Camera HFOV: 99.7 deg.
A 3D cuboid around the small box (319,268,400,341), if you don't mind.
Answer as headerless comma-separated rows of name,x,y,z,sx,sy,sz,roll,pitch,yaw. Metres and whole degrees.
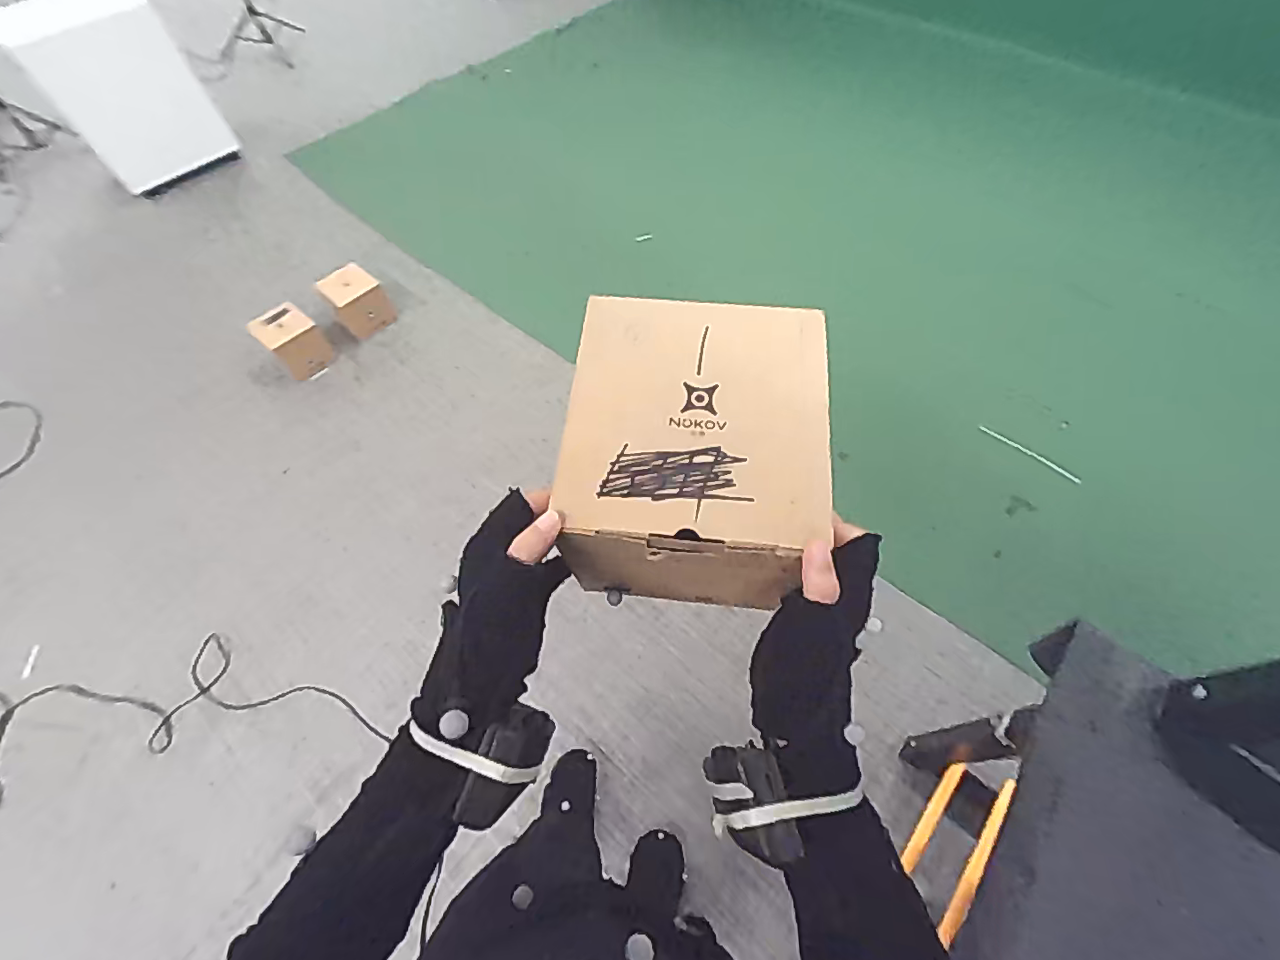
small box,-1.026,-0.639,1.993,0.179,0.176,0.168,37,66,21
